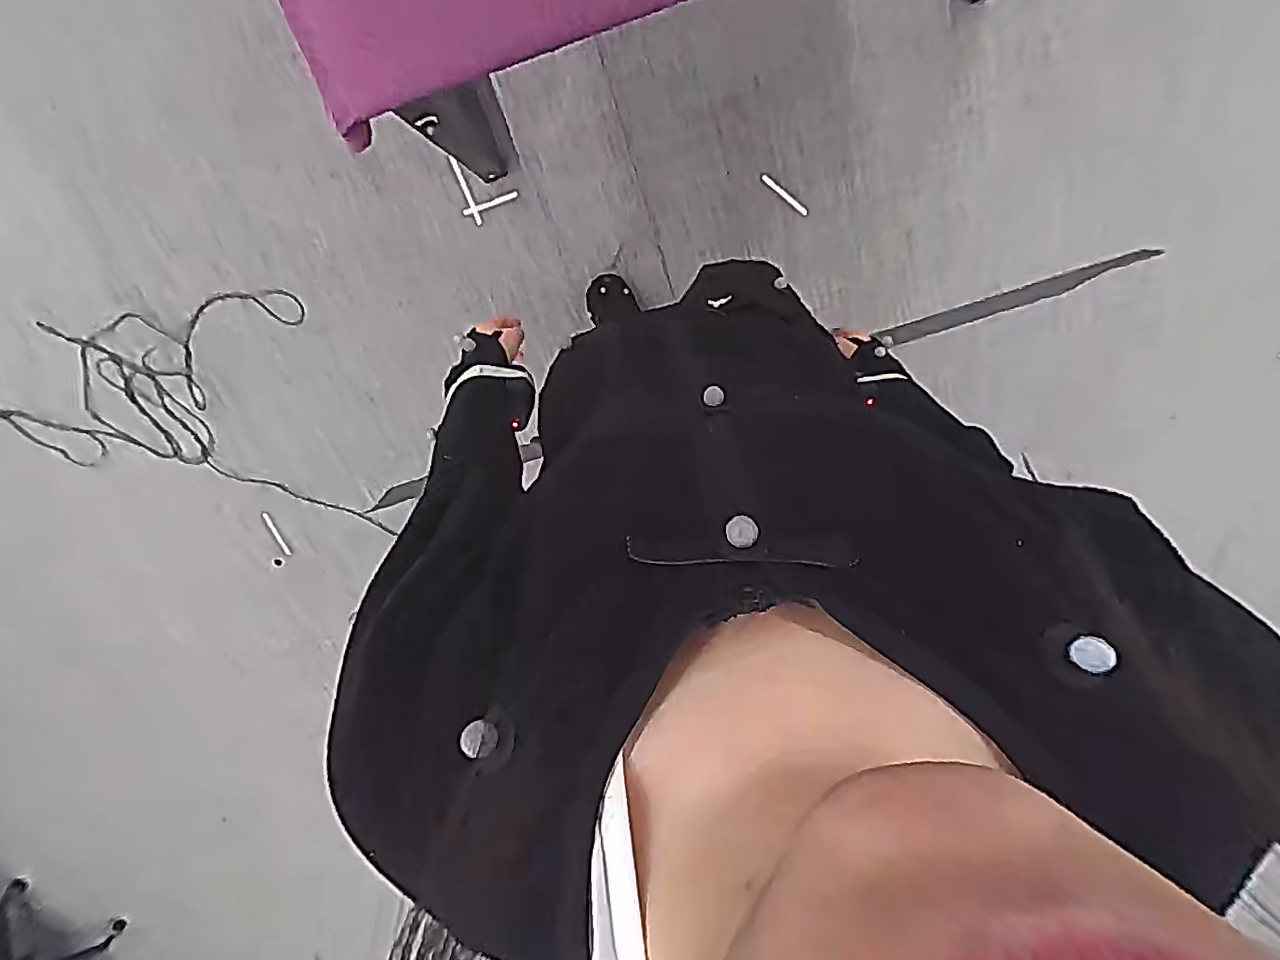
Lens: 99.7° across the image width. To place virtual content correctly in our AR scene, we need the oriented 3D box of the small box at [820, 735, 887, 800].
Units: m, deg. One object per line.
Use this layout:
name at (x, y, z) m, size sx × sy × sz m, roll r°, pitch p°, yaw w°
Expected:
small box at (0.745, 1.014, 1.869) m, size 0.168 × 0.176 × 0.179 m, roll -22°, pitch 110°, yaw 5°
